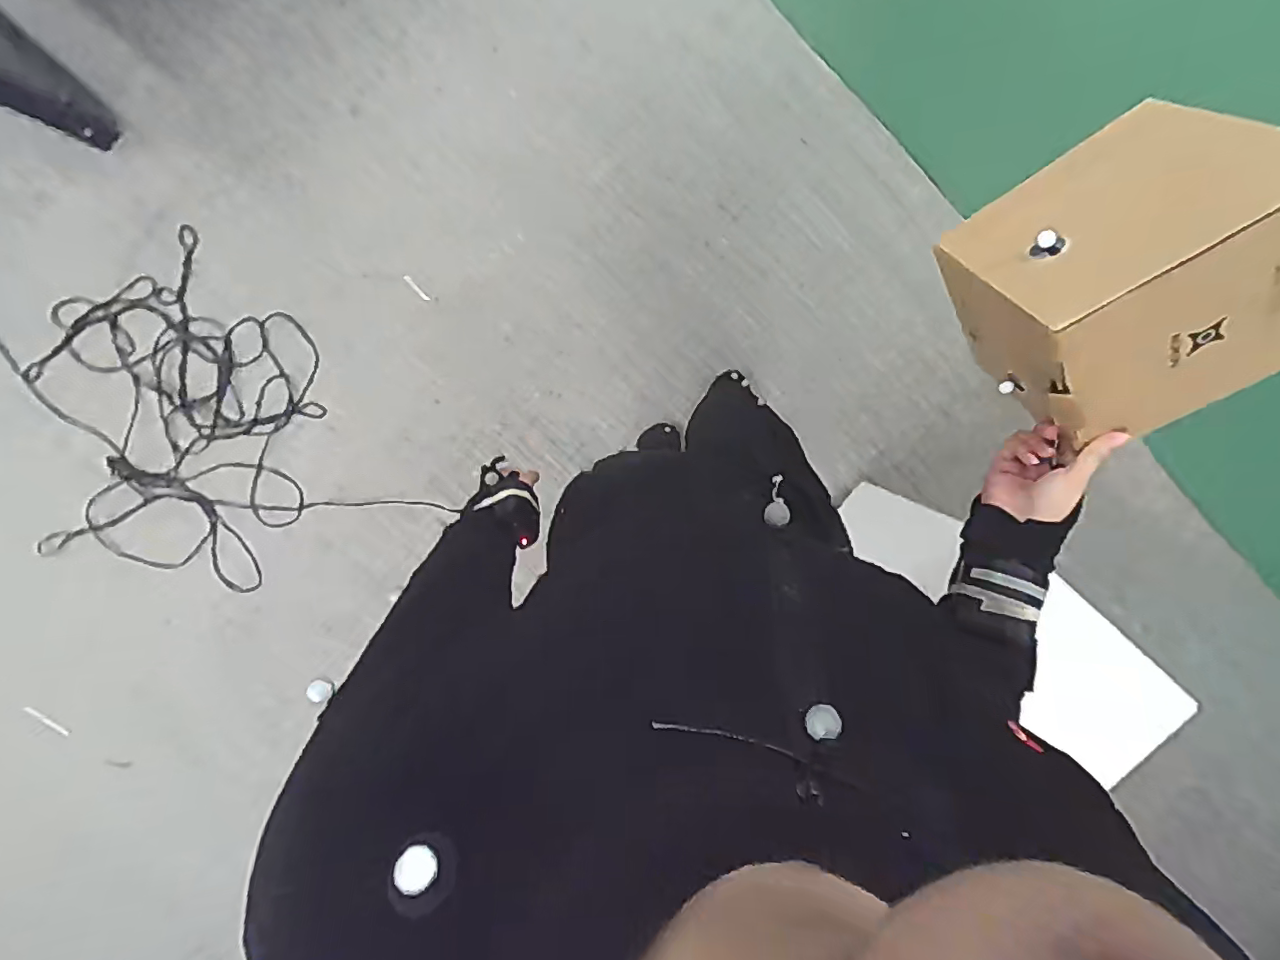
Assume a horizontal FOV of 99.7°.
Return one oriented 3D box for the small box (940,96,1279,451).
[{"bbox_3d":[0.376,-0.163,0.437,0.179,0.176,0.168,-35,130,20],"label":"small box"}]
